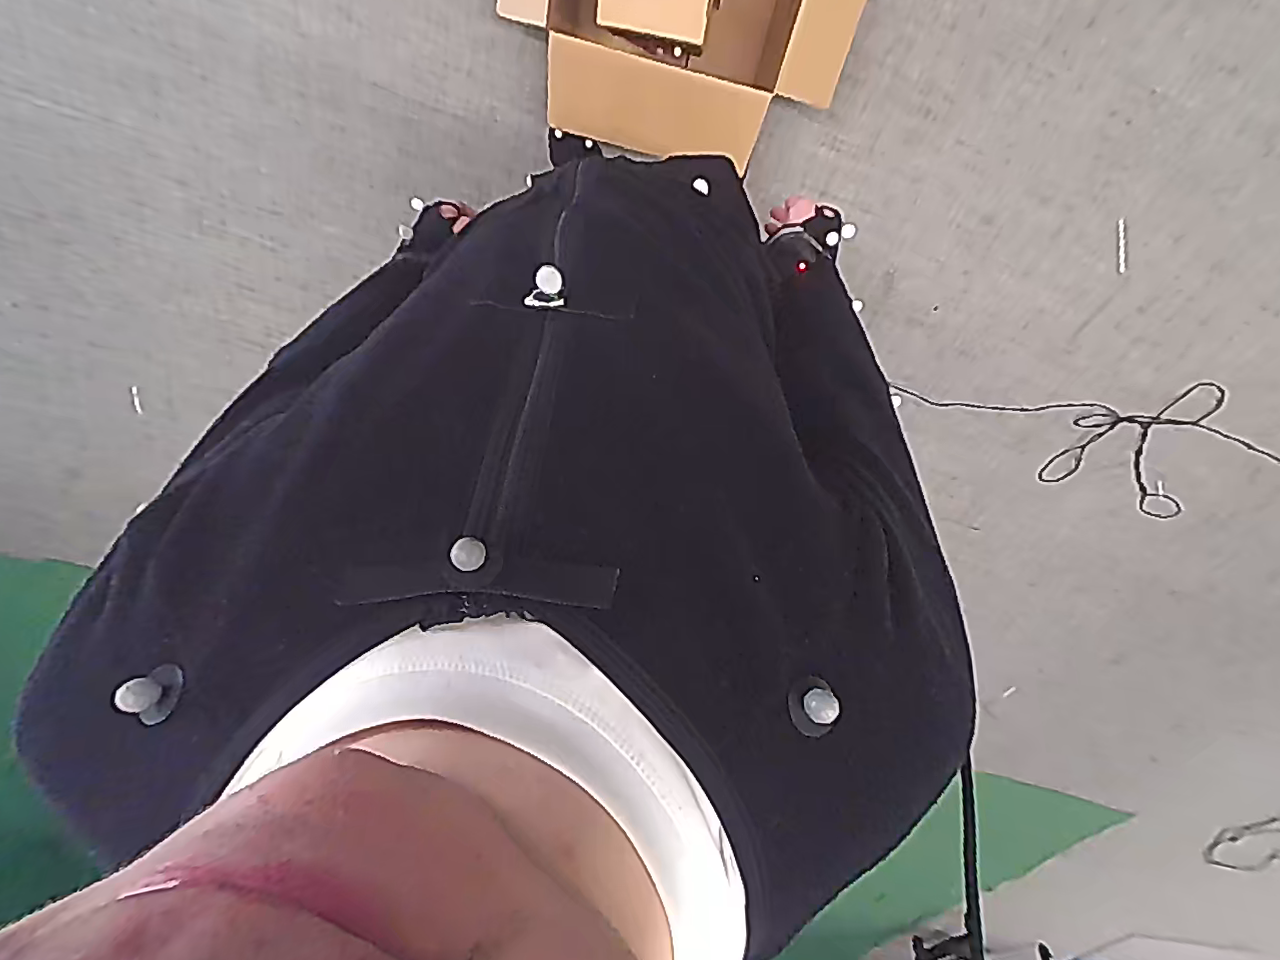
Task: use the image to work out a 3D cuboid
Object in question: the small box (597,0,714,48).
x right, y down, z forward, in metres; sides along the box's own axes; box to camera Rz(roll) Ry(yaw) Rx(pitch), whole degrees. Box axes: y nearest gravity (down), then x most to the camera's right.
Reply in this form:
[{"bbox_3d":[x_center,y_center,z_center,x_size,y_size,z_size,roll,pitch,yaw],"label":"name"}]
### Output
[{"bbox_3d":[0.039,-0.826,0.879,0.179,0.176,0.168,12,123,1],"label":"small box"}]
